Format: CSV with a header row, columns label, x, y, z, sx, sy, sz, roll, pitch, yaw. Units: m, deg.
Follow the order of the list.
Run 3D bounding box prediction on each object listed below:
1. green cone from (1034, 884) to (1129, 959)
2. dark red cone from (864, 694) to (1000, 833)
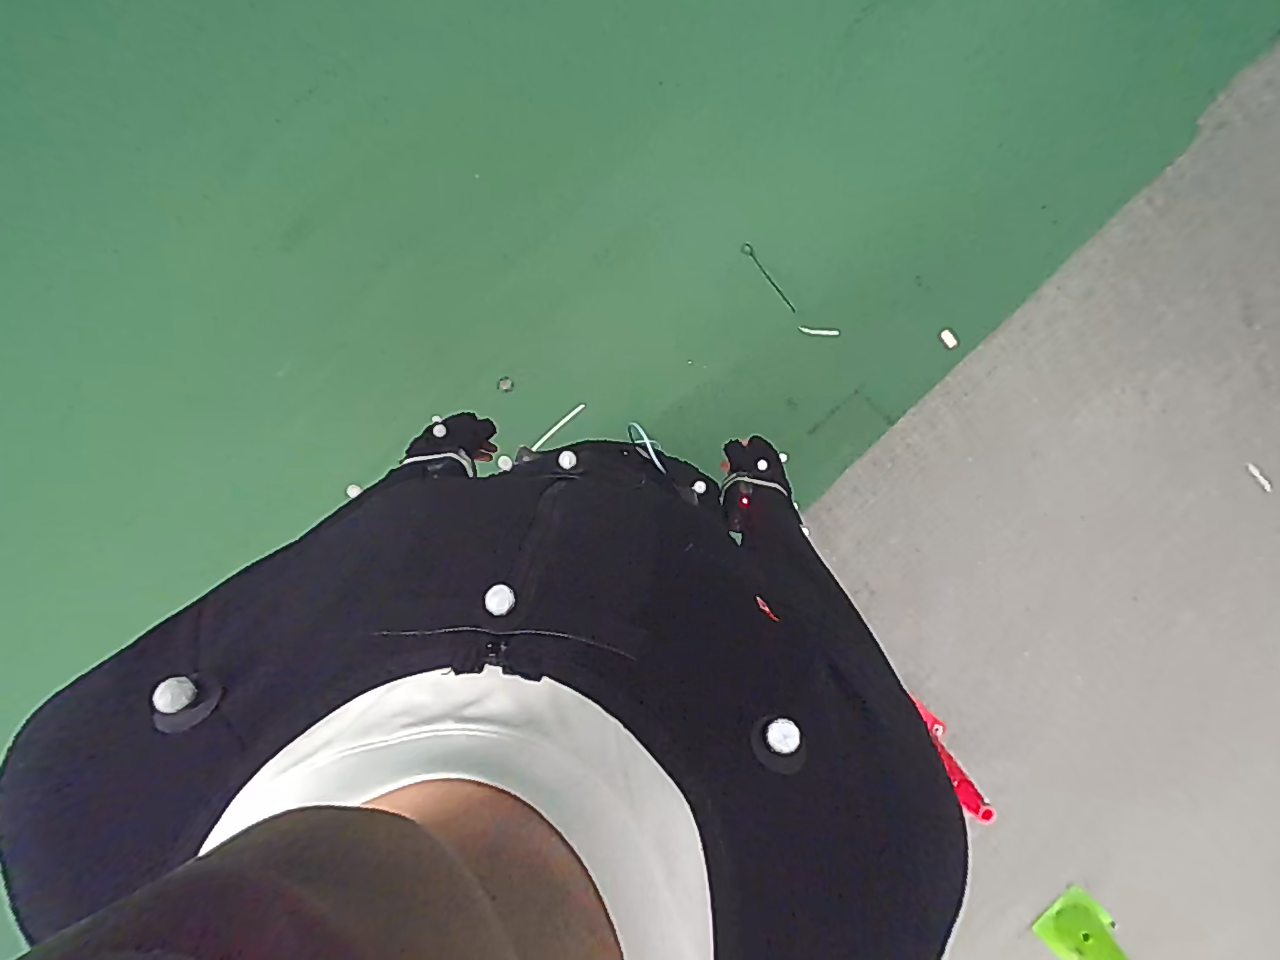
label,x,y,z,sx,sy,sz,roll,pitch,yaw
green cone,1.336,1.371,1.485,0.200,0.368,0.202,44,92,-5
dark red cone,0.773,0.746,1.384,0.201,0.394,0.202,40,91,-4
